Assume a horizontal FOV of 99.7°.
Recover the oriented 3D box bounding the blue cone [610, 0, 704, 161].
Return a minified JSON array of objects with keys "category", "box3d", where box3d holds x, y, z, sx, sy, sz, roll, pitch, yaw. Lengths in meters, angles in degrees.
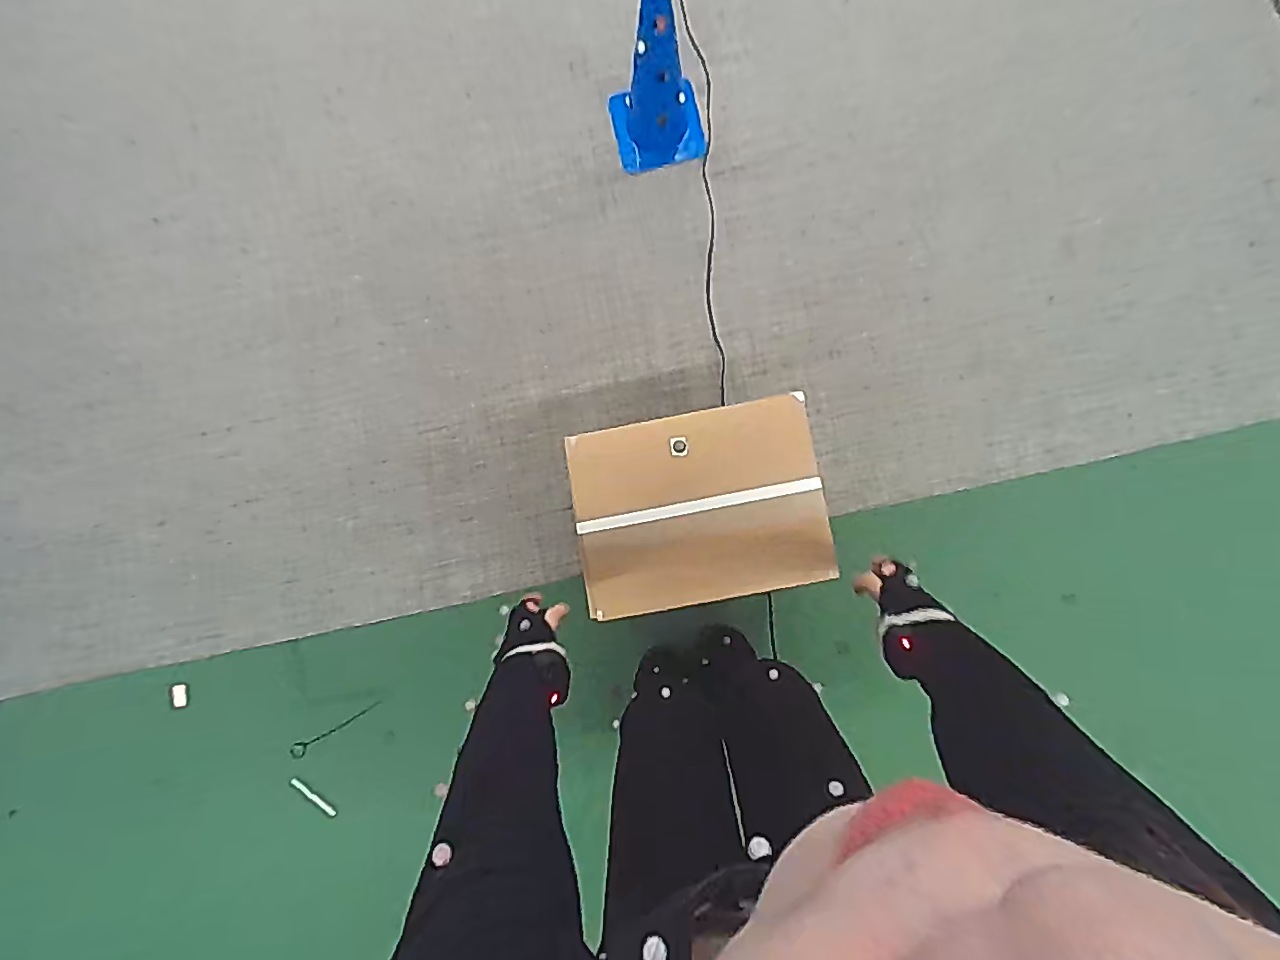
[{"category":"blue cone","box3d":[0.031,-0.841,1.069,0.193,0.380,0.192,-16,85,2]}]
